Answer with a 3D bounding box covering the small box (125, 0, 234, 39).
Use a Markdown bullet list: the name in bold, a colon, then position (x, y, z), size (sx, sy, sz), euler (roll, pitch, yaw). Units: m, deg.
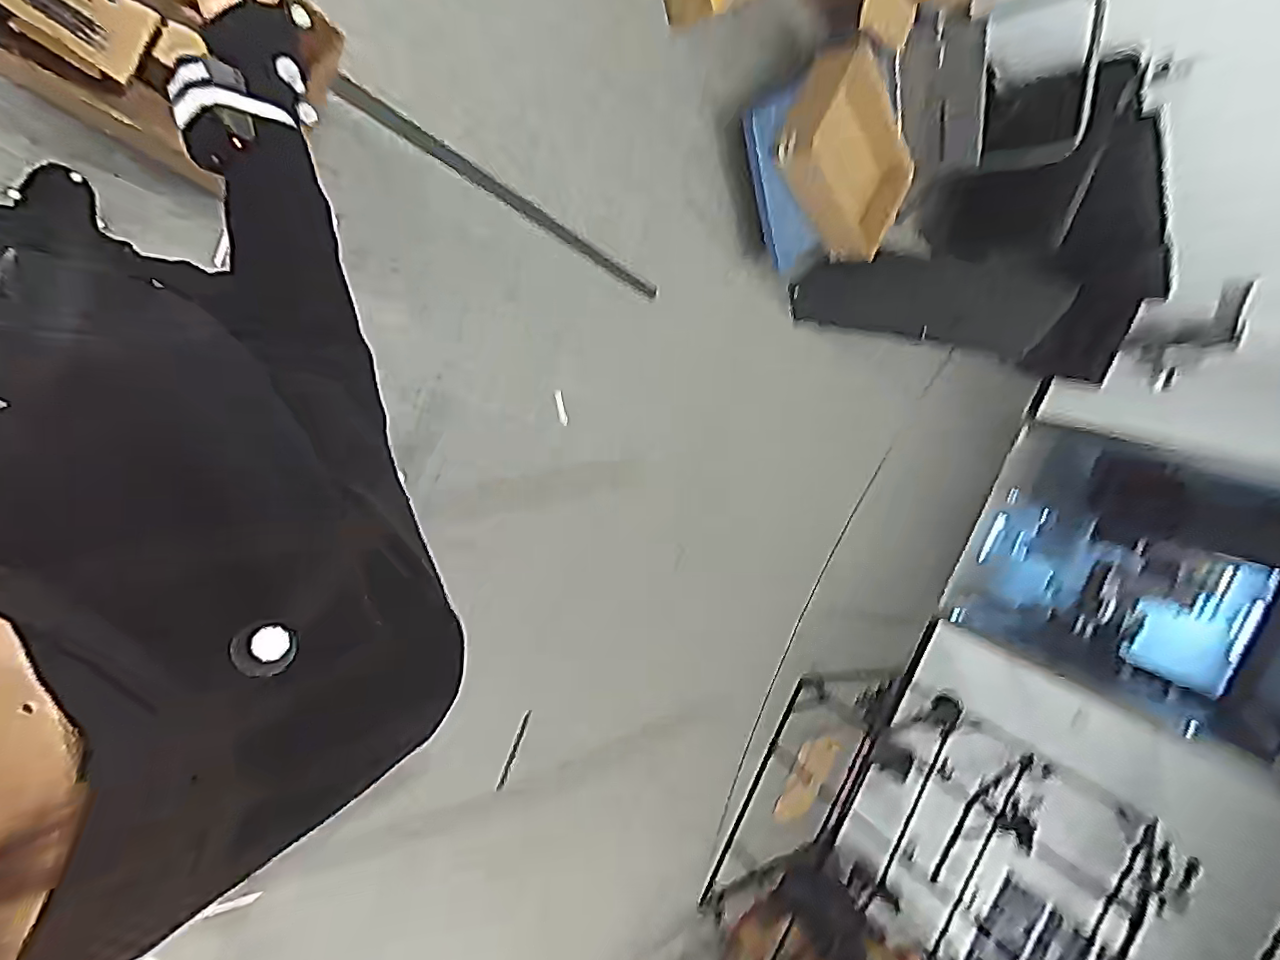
- **small box**: position (-0.431, -0.515, 0.444), size (0.168, 0.176, 0.179), euler (8, 110, -44)
